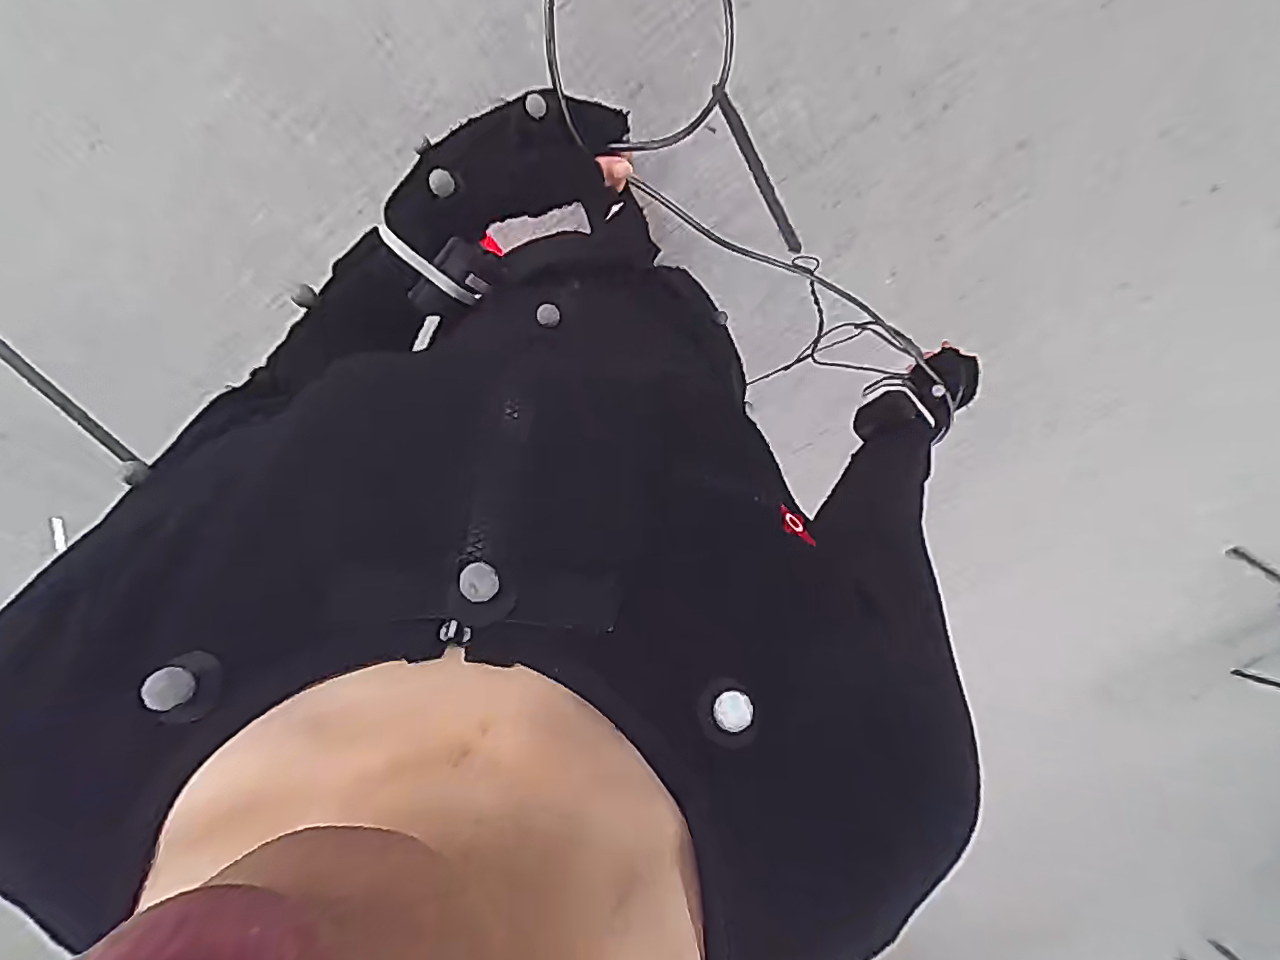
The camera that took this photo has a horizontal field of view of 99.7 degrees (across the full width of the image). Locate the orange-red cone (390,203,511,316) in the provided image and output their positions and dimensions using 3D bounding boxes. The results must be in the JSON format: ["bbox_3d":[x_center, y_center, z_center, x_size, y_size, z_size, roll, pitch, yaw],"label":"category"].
[{"bbox_3d":[-0.432,-0.438,1.125,0.198,0.360,0.199,-33,112,16],"label":"orange-red cone"}]
